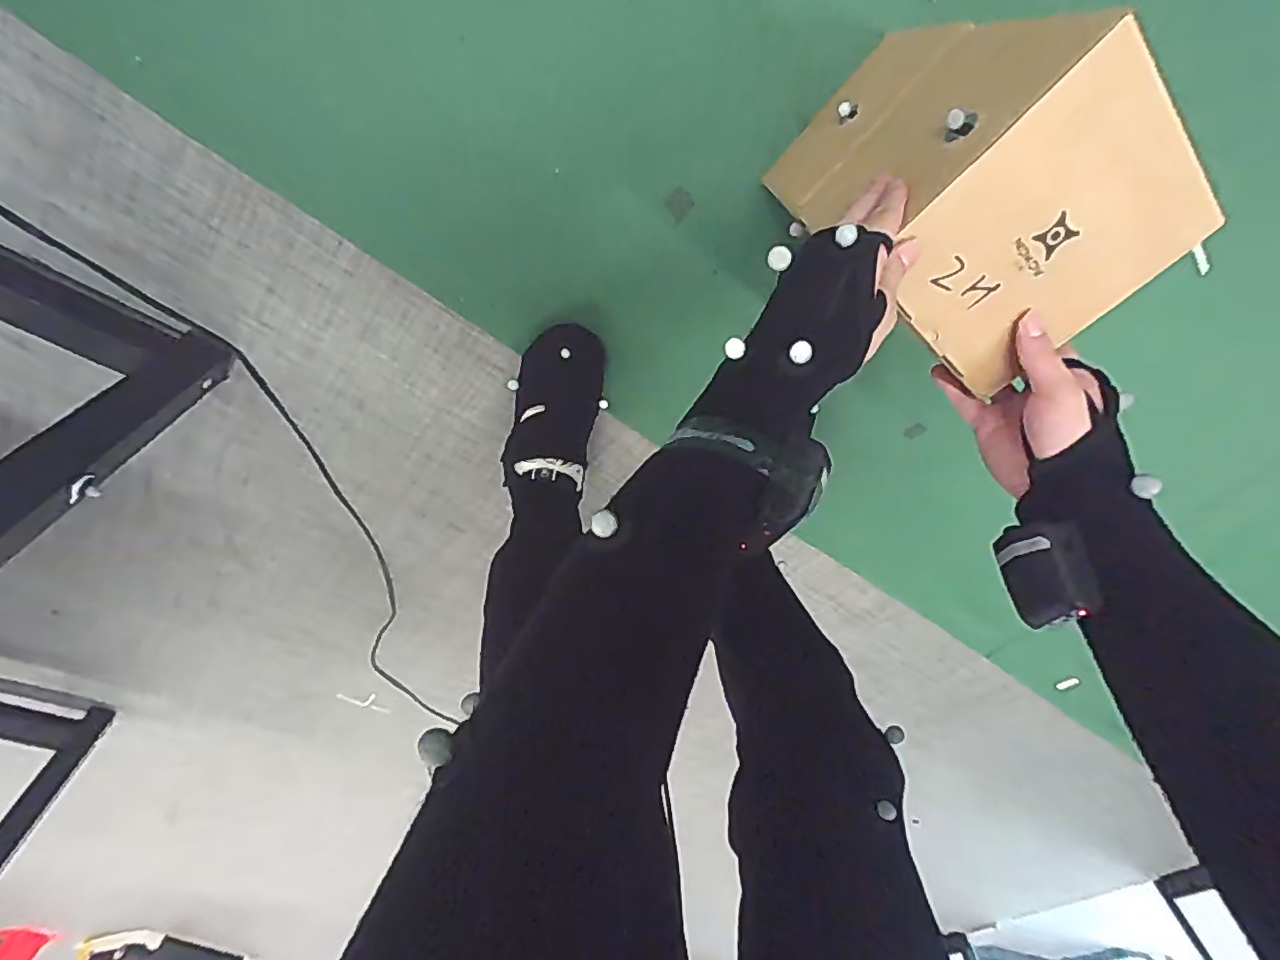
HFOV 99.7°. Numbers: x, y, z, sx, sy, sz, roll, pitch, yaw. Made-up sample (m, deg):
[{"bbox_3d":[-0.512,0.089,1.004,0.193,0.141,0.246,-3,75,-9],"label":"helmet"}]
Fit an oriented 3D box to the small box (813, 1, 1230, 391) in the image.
[{"bbox_3d":[0.266,-0.211,0.419,0.168,0.176,0.179,34,120,-24],"label":"small box"}]
